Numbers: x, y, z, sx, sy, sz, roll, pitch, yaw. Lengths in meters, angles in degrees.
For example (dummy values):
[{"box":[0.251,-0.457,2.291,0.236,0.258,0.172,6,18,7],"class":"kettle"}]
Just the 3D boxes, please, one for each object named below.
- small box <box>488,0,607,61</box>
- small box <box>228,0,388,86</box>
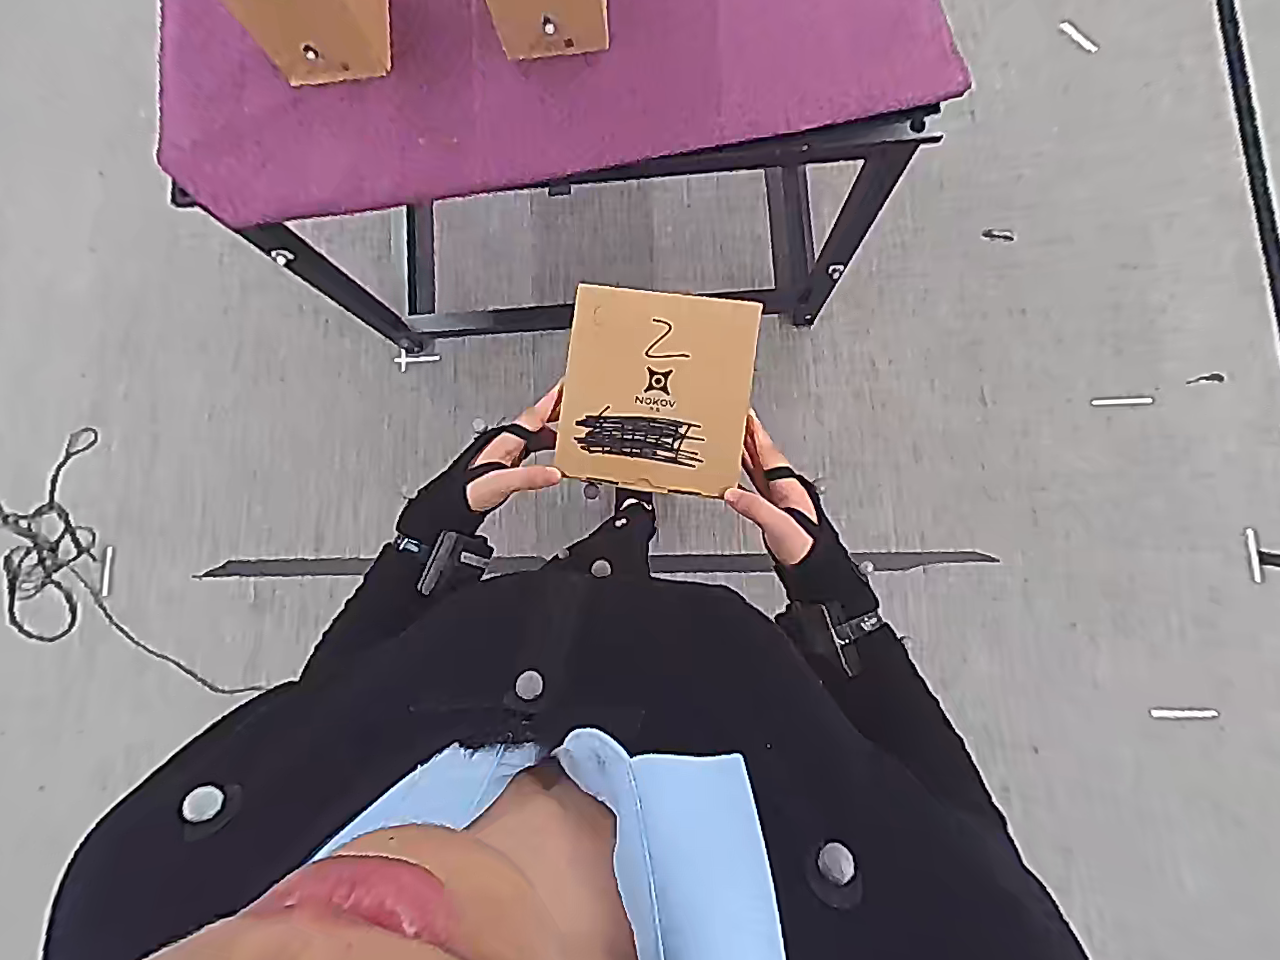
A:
[{"box":[-0.141,-0.761,0.782,0.168,0.176,0.179,-4,84,4],"class":"small box"},{"box":[-0.494,-0.735,0.801,0.168,0.176,0.179,-5,84,2],"class":"small box"}]
